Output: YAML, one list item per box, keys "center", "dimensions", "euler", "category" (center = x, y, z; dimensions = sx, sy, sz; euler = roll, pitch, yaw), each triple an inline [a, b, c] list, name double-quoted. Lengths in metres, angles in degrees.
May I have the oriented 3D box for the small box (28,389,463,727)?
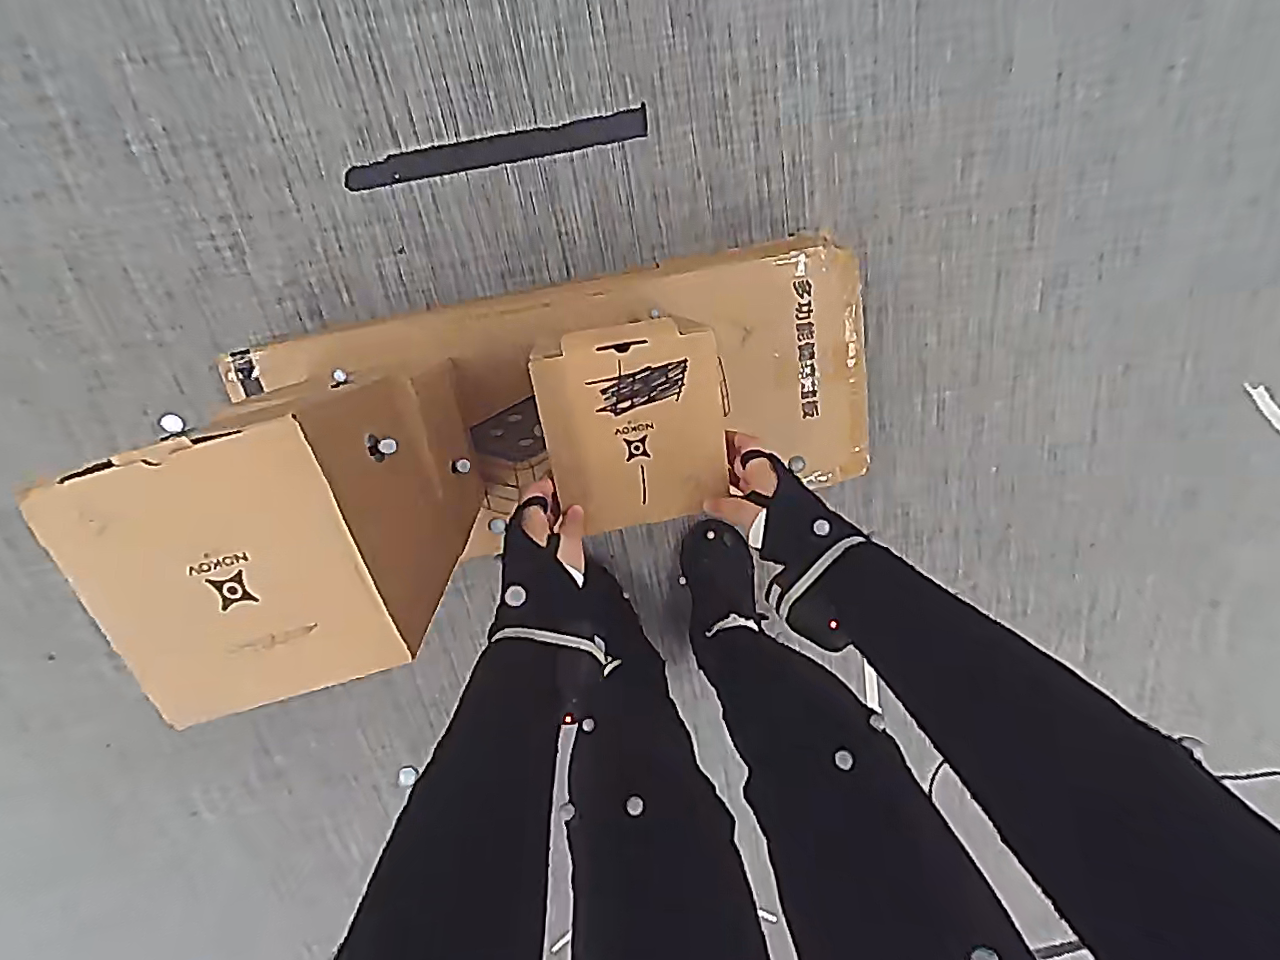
- center: [-0.252, 0.038, 0.406]
  dimensions: [0.168, 0.176, 0.179]
  euler: [-16, 111, -1]
  category: "small box"

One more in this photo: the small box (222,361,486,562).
- center: [-0.267, -0.015, 0.559]
  dimensions: [0.168, 0.176, 0.179]
  euler: [-9, 110, -4]
  category: "small box"

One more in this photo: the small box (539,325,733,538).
- center: [-0.008, -0.063, 0.571]
  dimensions: [0.168, 0.176, 0.179]
  euler: [-10, 112, -3]
  category: "small box"
